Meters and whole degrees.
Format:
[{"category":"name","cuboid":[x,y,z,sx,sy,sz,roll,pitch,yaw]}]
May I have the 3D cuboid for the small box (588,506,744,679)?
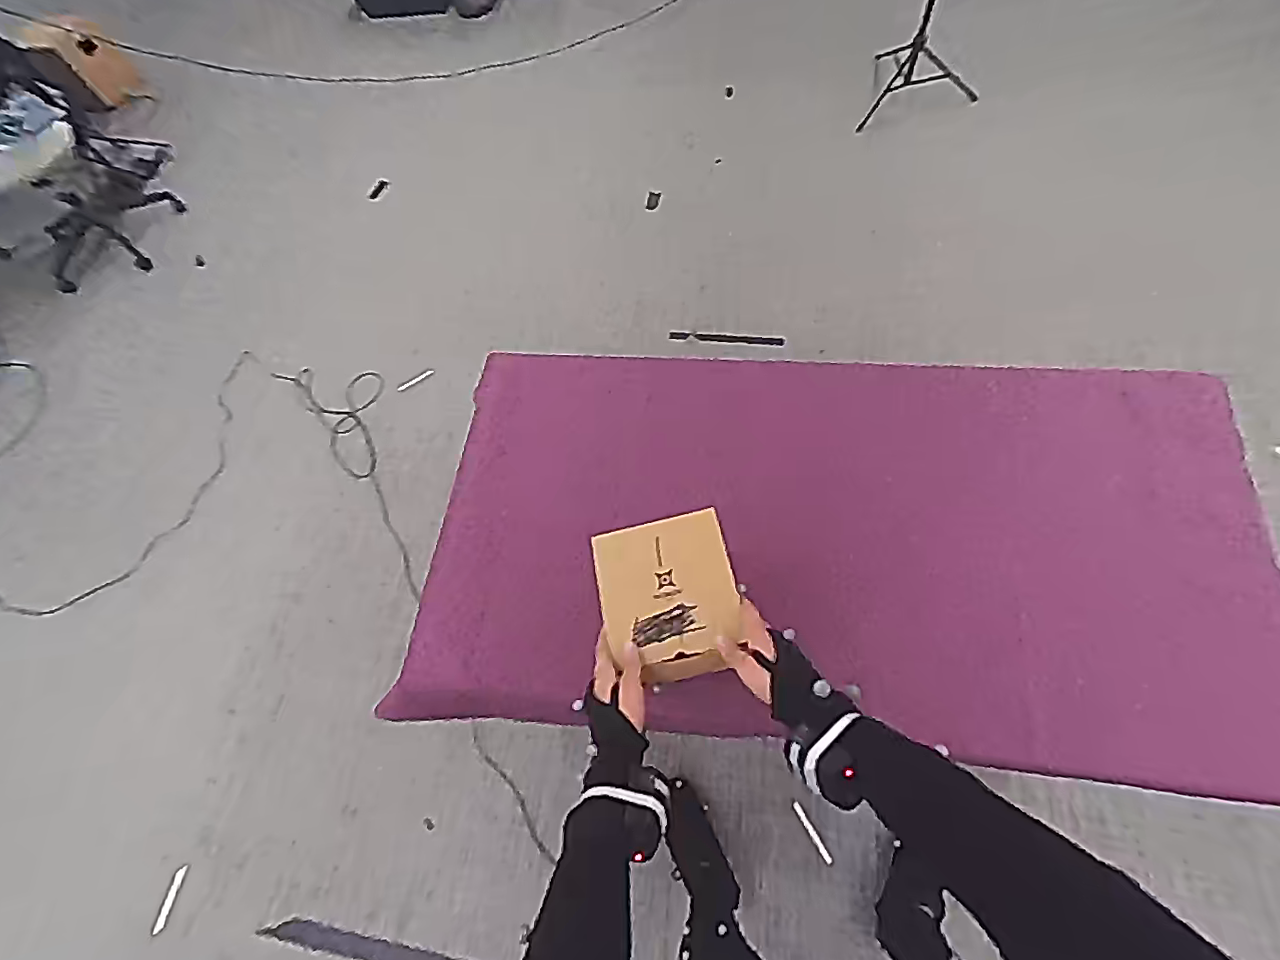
[{"category":"small box","cuboid":[0.040,0.160,0.720,0.168,0.176,0.179,-14,62,4]}]
